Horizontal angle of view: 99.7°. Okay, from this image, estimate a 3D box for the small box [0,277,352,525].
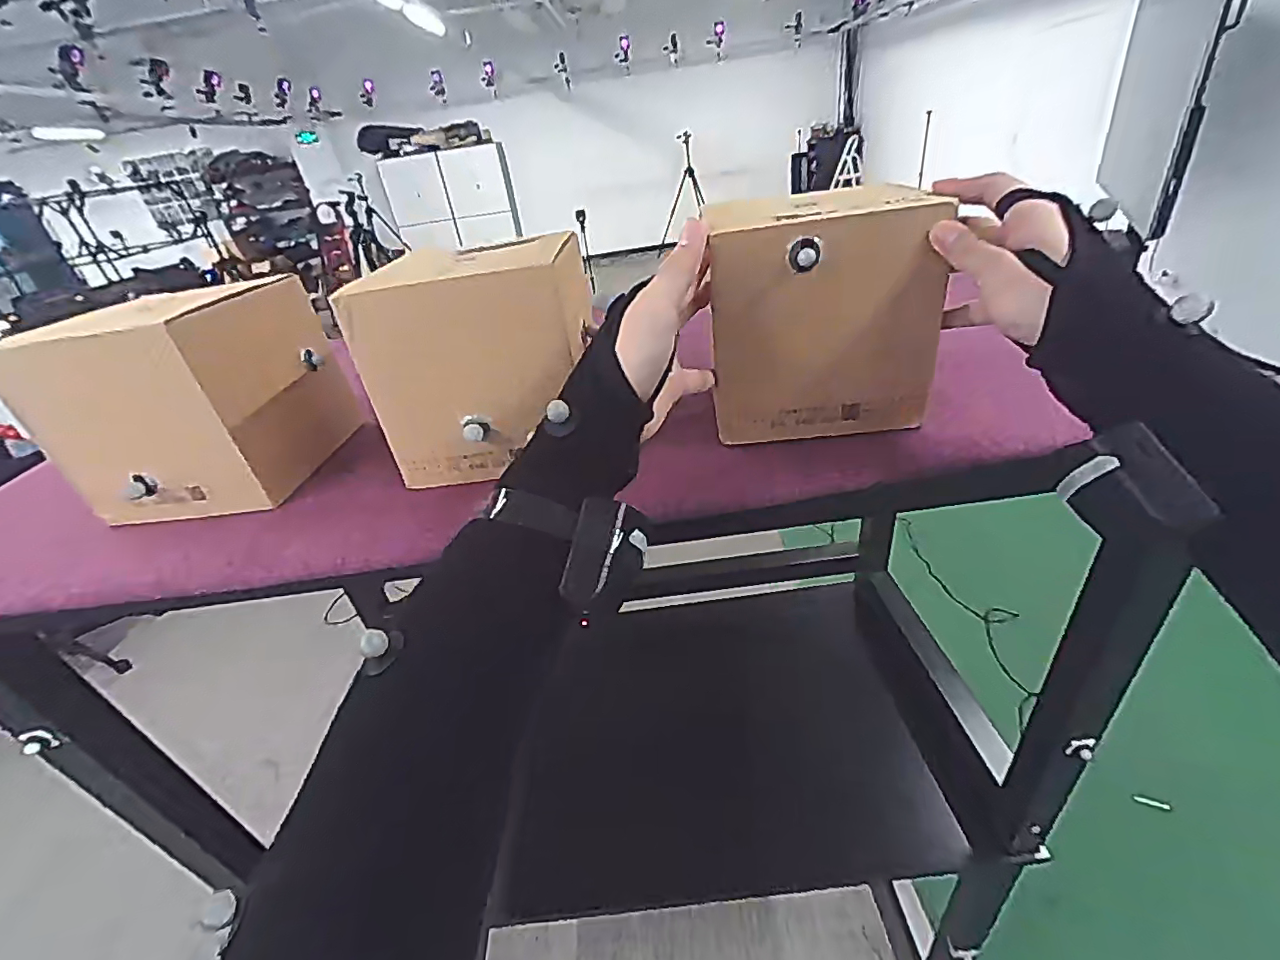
[{"bbox_3d":[-0.405,-0.078,0.507,0.168,0.176,0.179,-6,32,6],"label":"small box"}]

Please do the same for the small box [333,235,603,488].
[{"bbox_3d":[-0.130,-0.112,0.492,0.168,0.176,0.179,-7,32,4],"label":"small box"}]

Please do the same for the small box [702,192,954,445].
[{"bbox_3d":[0.142,-0.145,0.475,0.168,0.176,0.179,-5,31,7],"label":"small box"}]
